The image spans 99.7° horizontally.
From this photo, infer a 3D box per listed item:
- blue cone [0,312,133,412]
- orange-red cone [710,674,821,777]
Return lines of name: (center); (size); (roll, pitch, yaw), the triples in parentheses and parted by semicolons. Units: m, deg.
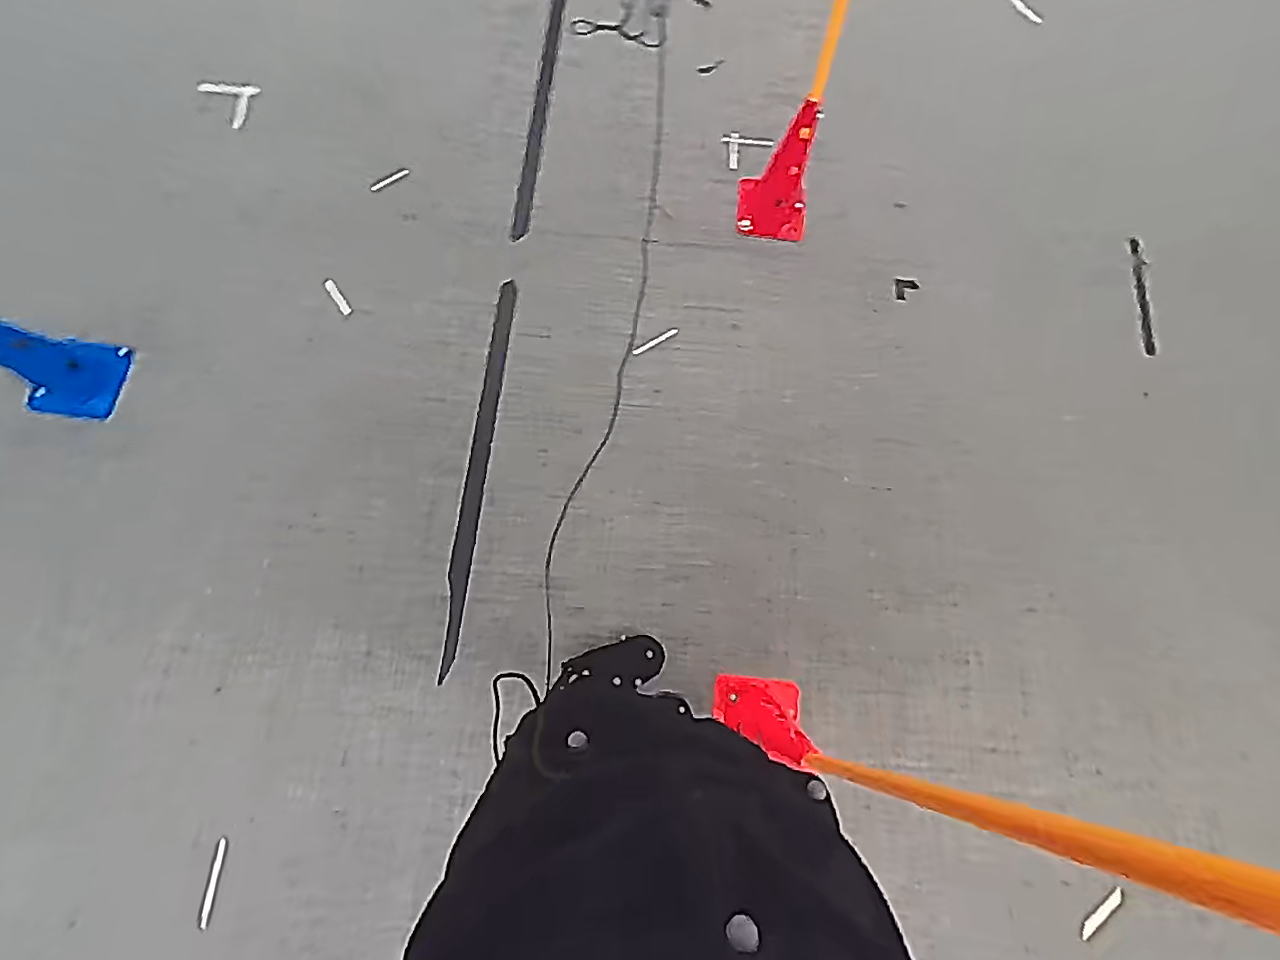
blue cone: (-1.380, -0.307, 1.193); (0.193, 0.380, 0.192); (9, 74, -1)
orange-red cone: (0.271, 0.508, 1.053); (0.198, 0.360, 0.199); (9, 75, -1)
